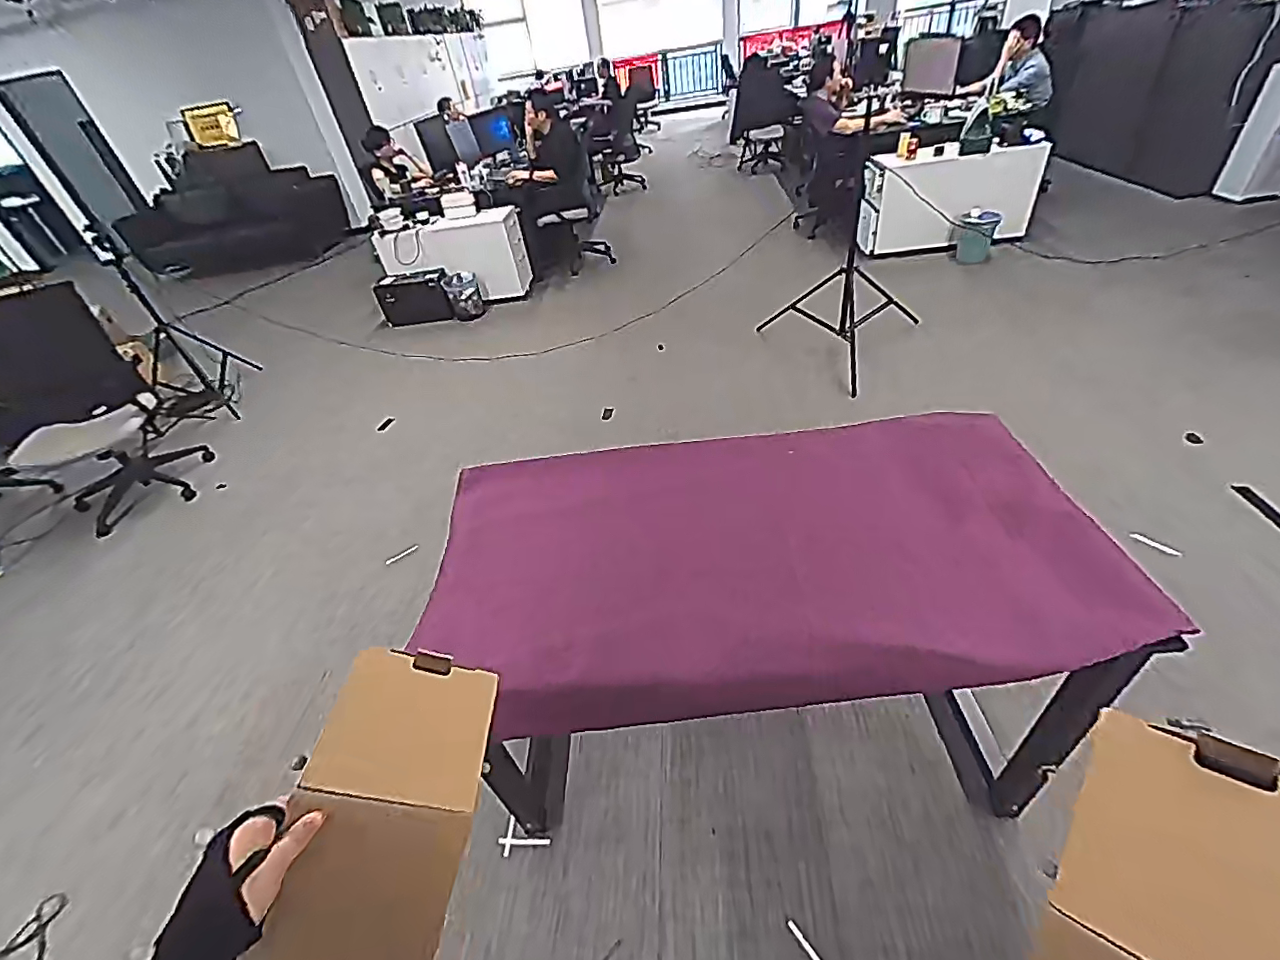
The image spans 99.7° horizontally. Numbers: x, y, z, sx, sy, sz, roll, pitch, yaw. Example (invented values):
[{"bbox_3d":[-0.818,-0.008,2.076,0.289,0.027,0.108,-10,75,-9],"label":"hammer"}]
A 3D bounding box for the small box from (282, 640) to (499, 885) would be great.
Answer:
[{"bbox_3d":[-0.281,0.325,0.623,0.168,0.176,0.179,22,25,-16],"label":"small box"}]
